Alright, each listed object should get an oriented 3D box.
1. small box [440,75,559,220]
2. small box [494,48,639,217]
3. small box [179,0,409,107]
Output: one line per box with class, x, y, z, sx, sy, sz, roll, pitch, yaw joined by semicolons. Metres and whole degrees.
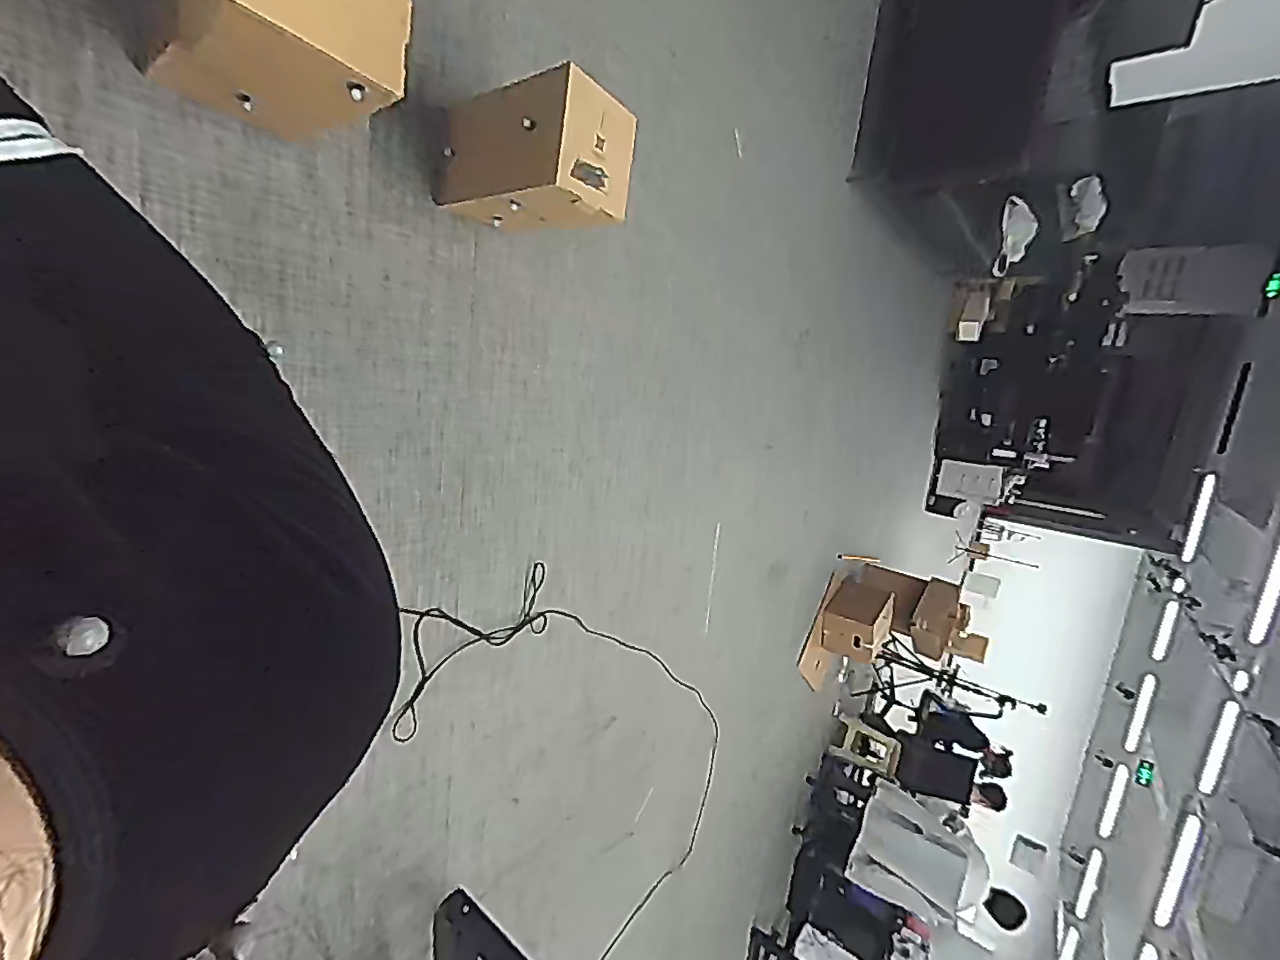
small box;-0.253;-0.602;1.010;0.168;0.176;0.179;-4;106;-52
small box;-0.126;-0.564;0.911;0.168;0.176;0.179;-2;102;-52
small box;-0.378;-0.549;0.593;0.179;0.176;0.168;-2;103;-52
